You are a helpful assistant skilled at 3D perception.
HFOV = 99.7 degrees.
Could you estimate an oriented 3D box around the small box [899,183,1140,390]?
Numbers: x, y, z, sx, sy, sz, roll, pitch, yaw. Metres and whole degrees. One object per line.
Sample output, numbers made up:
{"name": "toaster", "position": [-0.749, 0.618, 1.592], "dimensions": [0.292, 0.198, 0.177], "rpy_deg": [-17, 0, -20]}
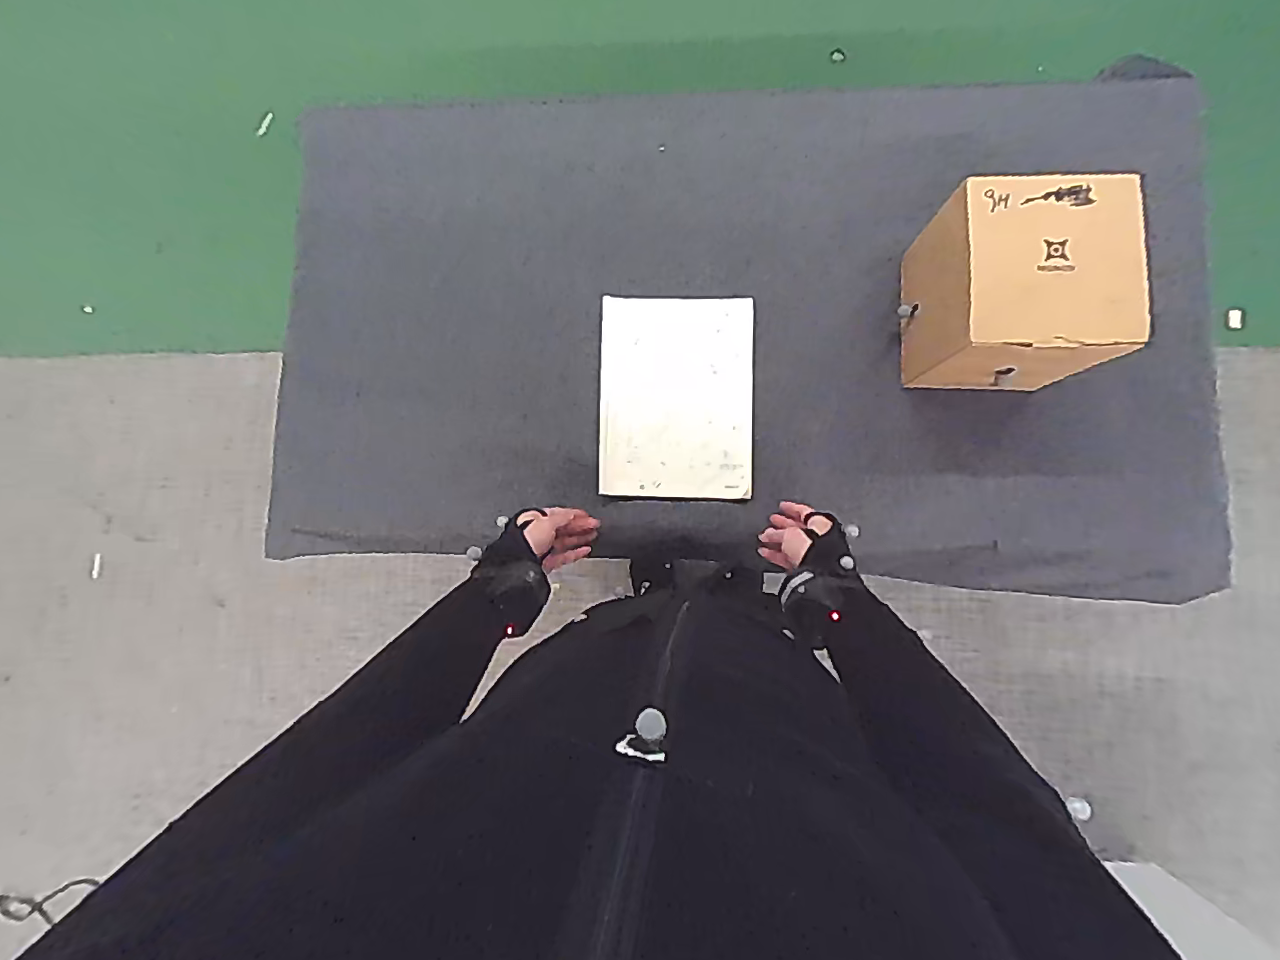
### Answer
{"name": "small box", "position": [0.411, -0.204, 0.614], "dimensions": [0.168, 0.176, 0.179], "rpy_deg": [2, 86, 4]}
